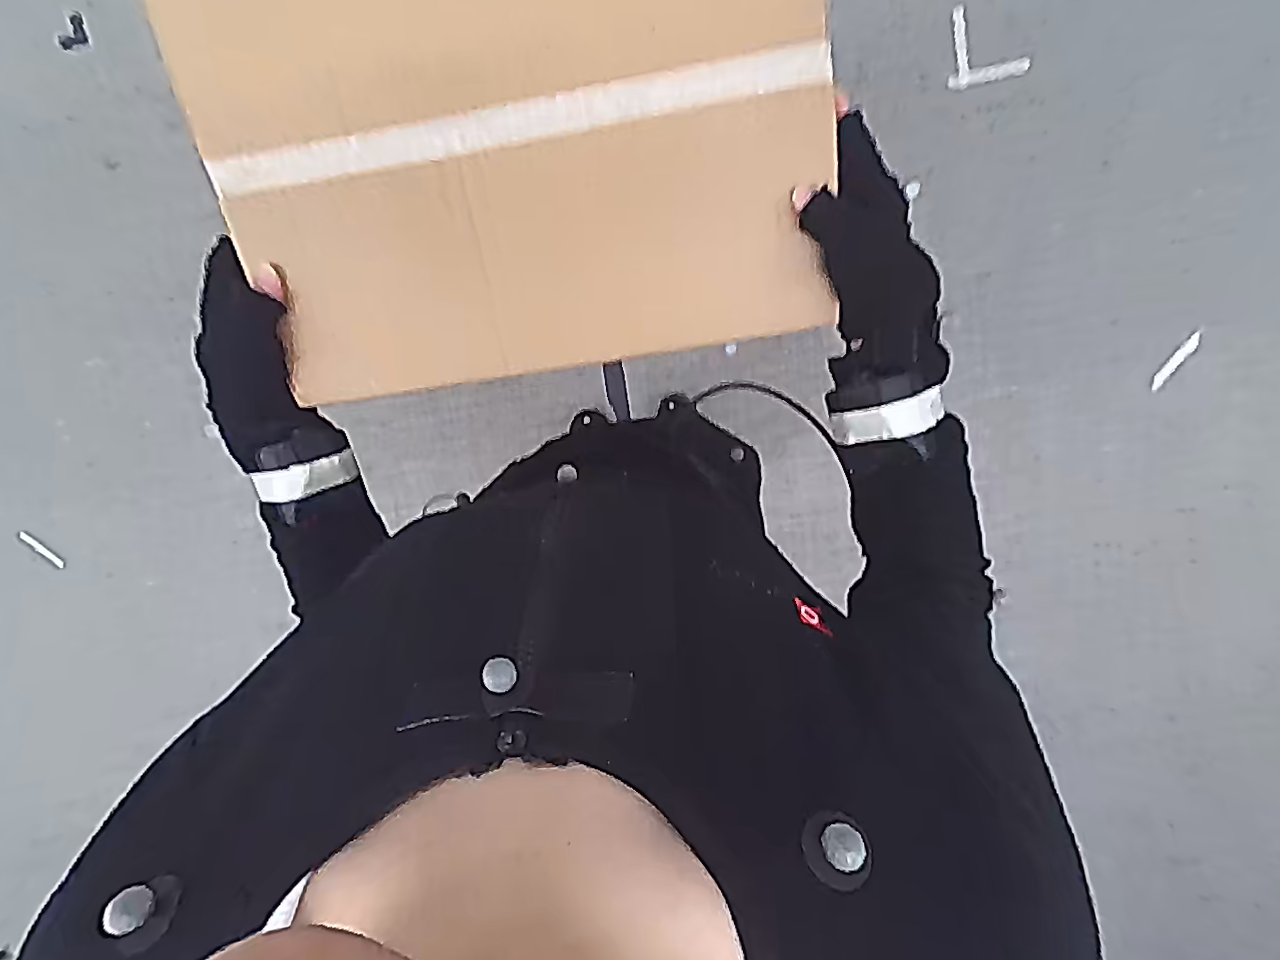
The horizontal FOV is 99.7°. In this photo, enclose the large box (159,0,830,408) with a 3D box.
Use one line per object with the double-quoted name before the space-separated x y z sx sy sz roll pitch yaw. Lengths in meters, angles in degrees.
"large box" -0.079 -0.279 0.492 0.408 0.320 0.320 -8 109 4
